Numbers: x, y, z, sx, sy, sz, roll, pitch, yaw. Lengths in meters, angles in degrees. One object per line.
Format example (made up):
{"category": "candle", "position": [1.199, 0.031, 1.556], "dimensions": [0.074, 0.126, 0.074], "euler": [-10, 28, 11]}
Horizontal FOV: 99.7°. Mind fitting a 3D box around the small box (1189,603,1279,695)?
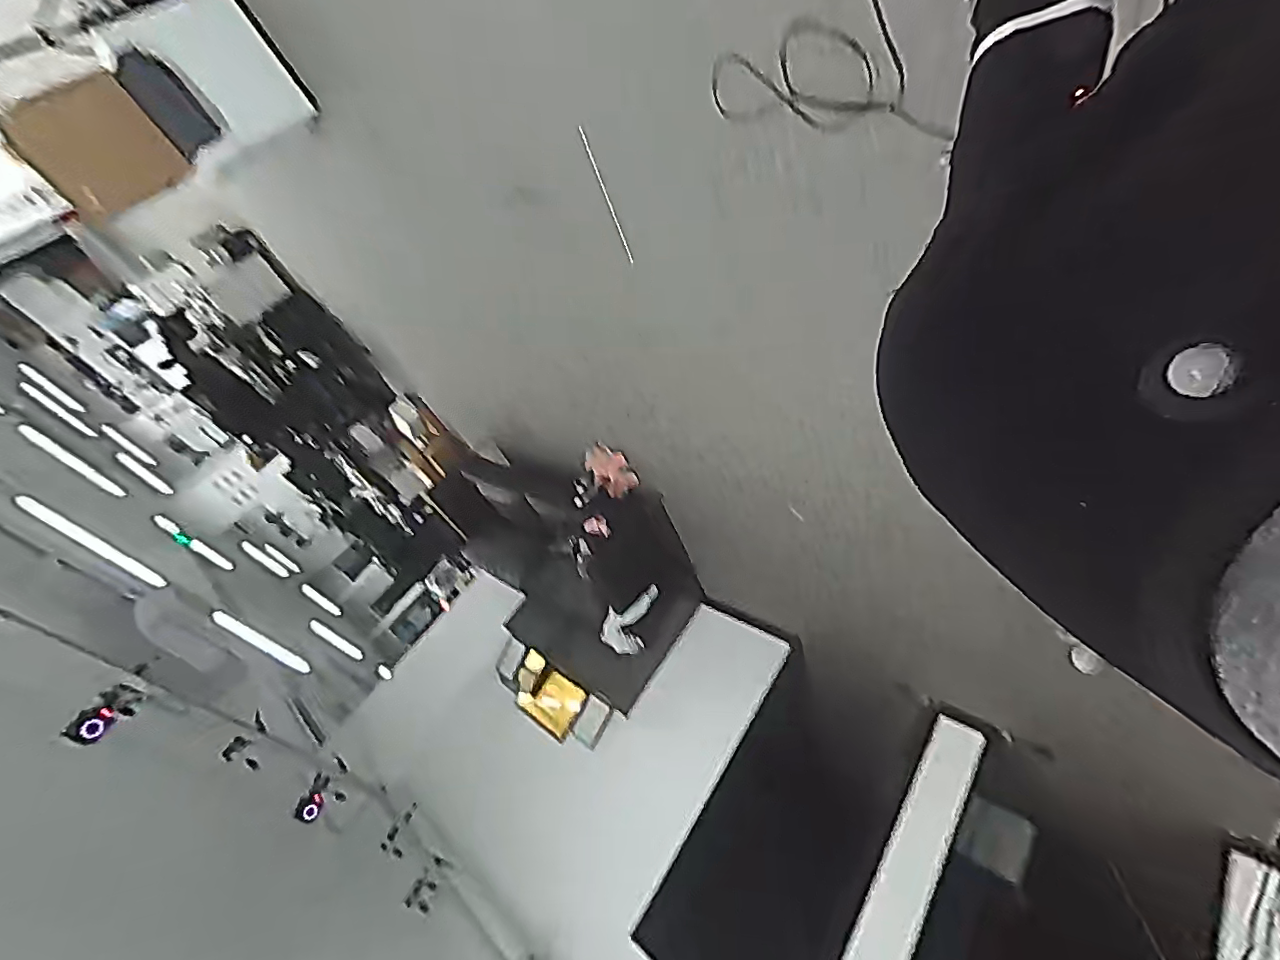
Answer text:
{"category": "small box", "position": [1.748, 0.483, 1.572], "dimensions": [0.179, 0.176, 0.168], "euler": [13, 145, 39]}
